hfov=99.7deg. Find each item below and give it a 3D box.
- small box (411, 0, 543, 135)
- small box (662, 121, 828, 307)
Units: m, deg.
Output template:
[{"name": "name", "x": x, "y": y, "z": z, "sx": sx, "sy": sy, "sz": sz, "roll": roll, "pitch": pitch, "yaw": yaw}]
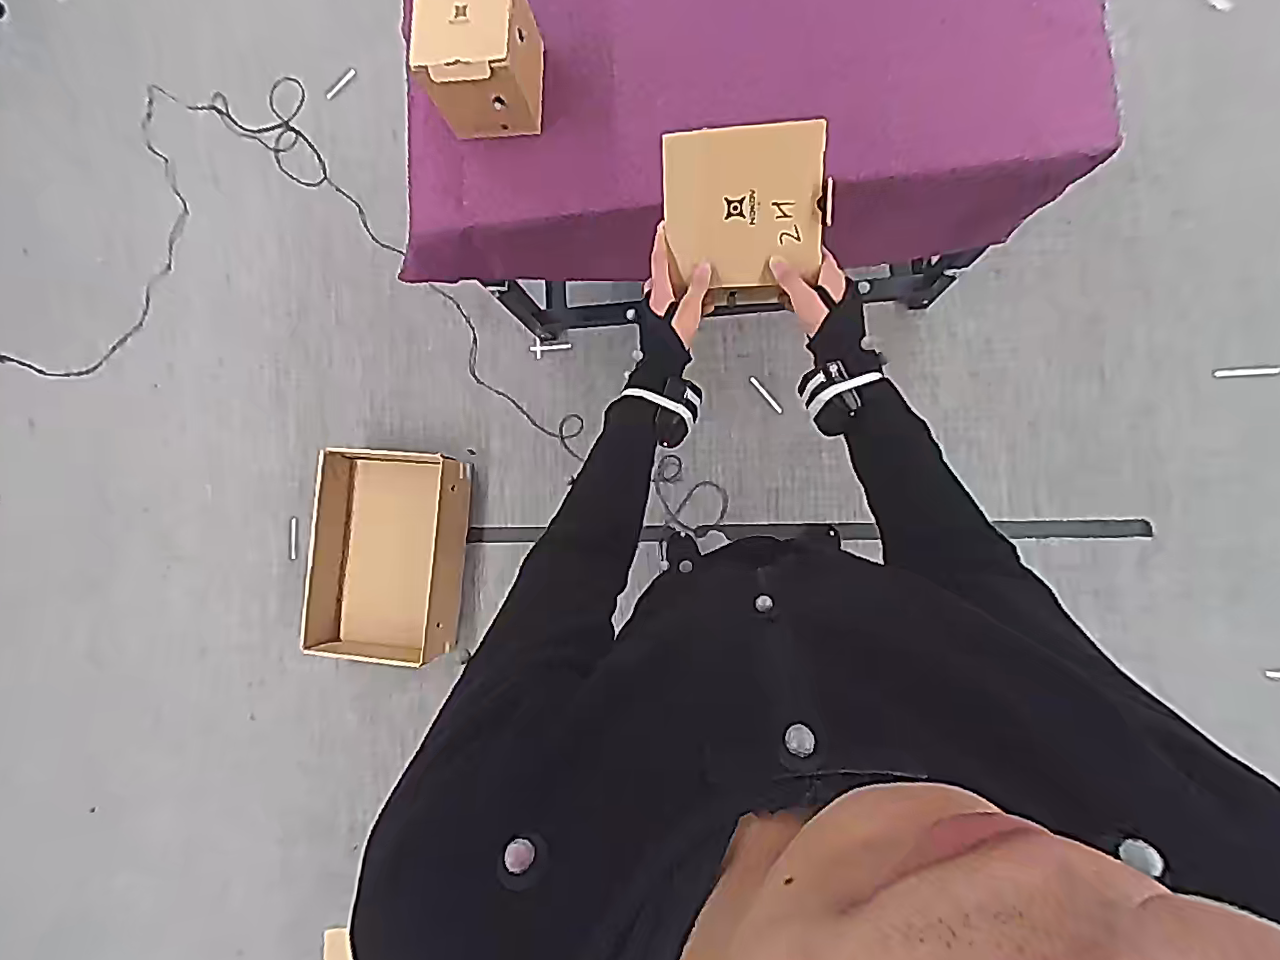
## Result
[{"name": "small box", "x": -0.274, "y": -0.732, "z": 0.941, "sx": 0.168, "sy": 0.176, "sz": 0.179, "roll": 2, "pitch": 86, "yaw": 7}, {"name": "small box", "x": 0.123, "y": -0.311, "z": 0.668, "sx": 0.179, "sy": 0.176, "sz": 0.168, "roll": 0, "pitch": 101, "yaw": 7}]
